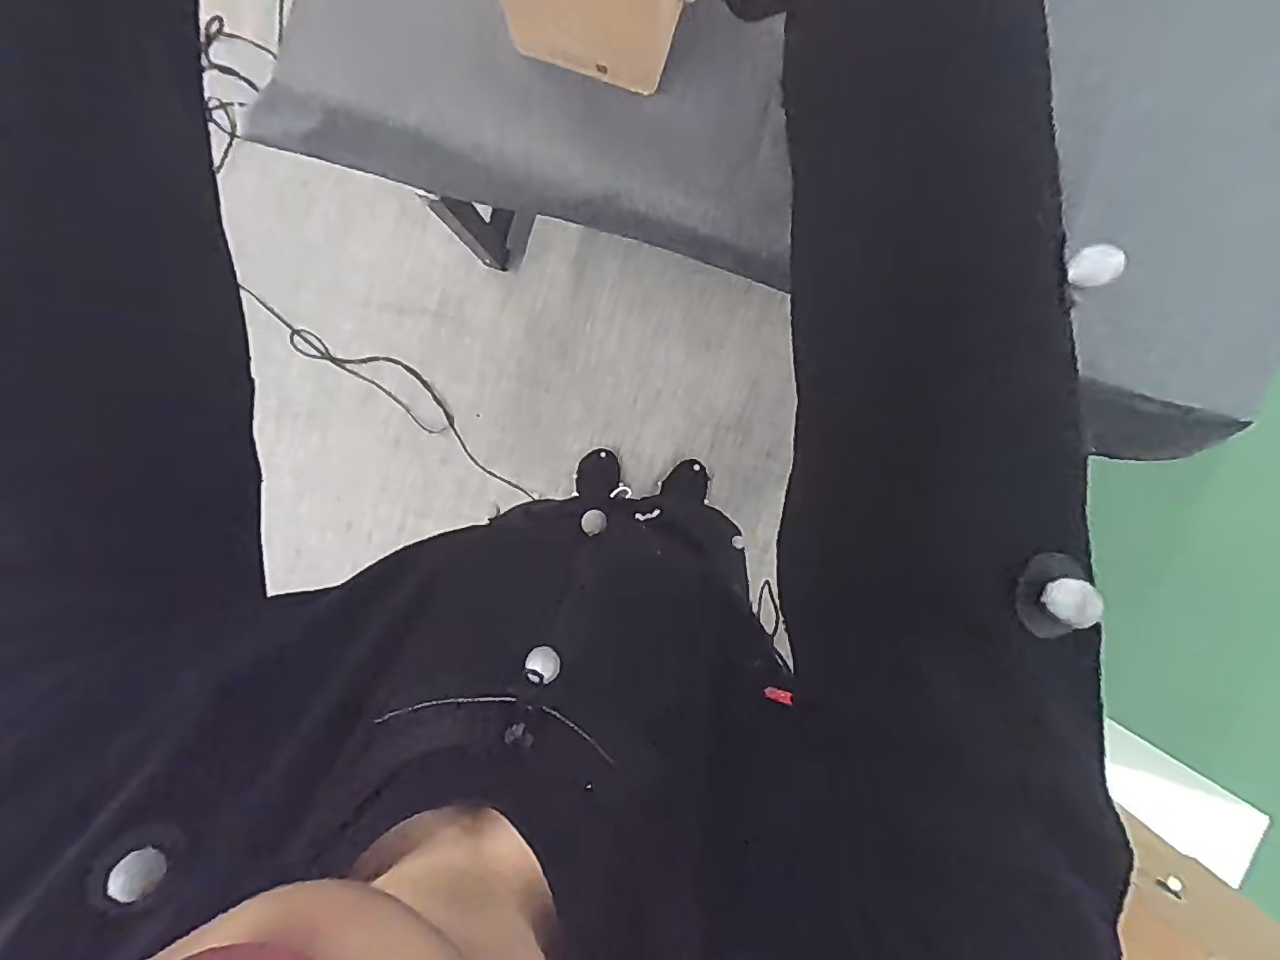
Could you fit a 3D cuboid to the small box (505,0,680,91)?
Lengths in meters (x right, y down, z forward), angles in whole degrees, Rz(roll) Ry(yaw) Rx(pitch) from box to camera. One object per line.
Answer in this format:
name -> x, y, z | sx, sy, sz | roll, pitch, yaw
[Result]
small box -> -0.039, -0.533, 0.517 | 0.168, 0.176, 0.179 | 17, 94, -2
